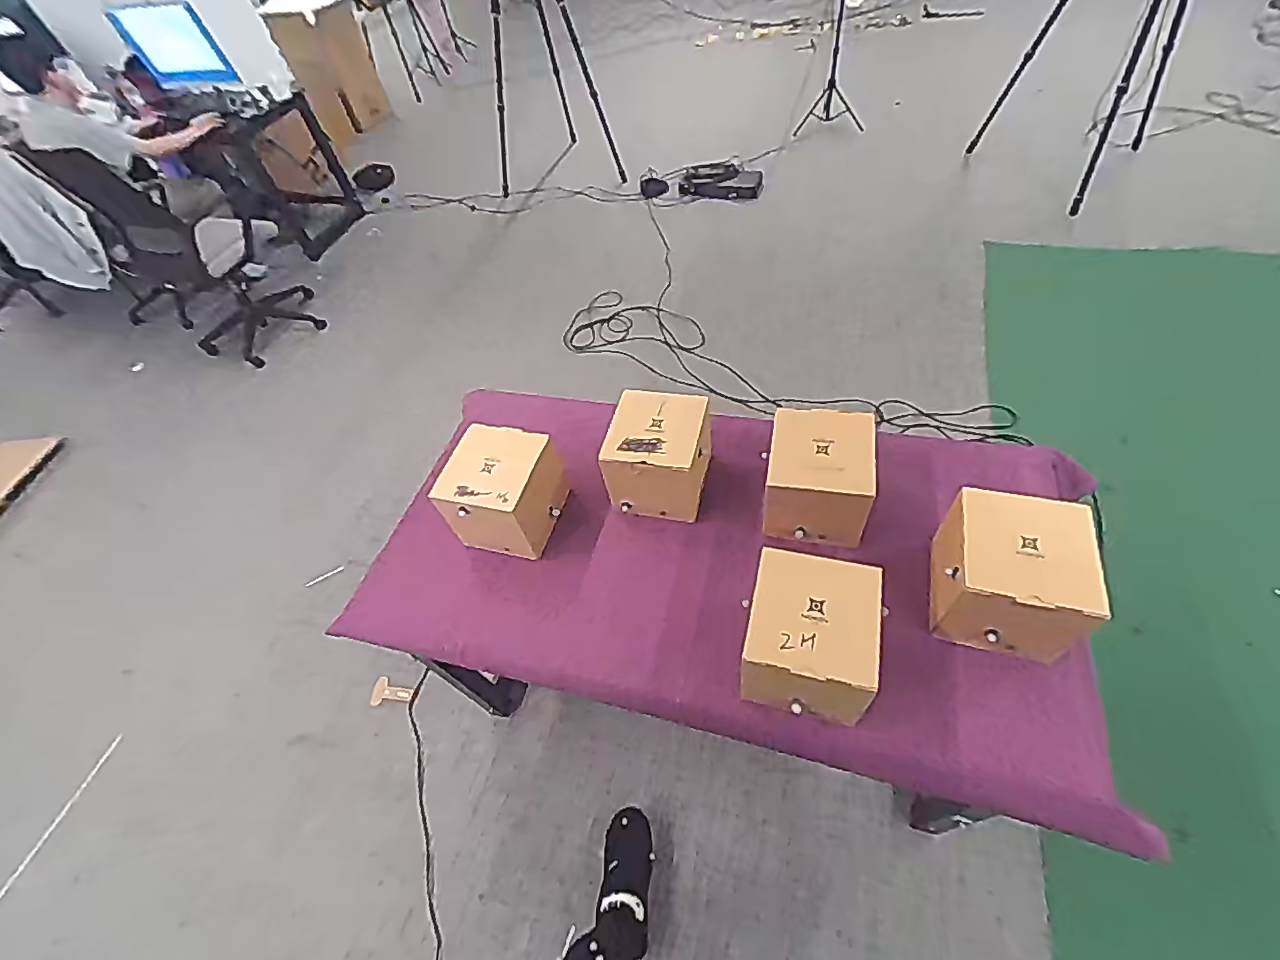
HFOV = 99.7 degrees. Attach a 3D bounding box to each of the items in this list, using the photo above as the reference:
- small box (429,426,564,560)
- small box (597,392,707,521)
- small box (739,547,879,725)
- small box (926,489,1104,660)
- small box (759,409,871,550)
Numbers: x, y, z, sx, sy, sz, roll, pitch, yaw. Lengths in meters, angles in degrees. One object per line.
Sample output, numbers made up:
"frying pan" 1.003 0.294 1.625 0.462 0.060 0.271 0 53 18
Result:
"small box" -0.255 0.024 1.019 0.168 0.176 0.179 8 54 16
"small box" 0.033 -0.042 1.028 0.168 0.176 0.179 8 54 14
"small box" 0.239 0.227 0.786 0.168 0.176 0.179 9 53 16
"small box" 0.540 0.142 0.808 0.168 0.176 0.179 10 55 17
"small box" 0.305 -0.001 0.955 0.168 0.176 0.179 7 54 15
